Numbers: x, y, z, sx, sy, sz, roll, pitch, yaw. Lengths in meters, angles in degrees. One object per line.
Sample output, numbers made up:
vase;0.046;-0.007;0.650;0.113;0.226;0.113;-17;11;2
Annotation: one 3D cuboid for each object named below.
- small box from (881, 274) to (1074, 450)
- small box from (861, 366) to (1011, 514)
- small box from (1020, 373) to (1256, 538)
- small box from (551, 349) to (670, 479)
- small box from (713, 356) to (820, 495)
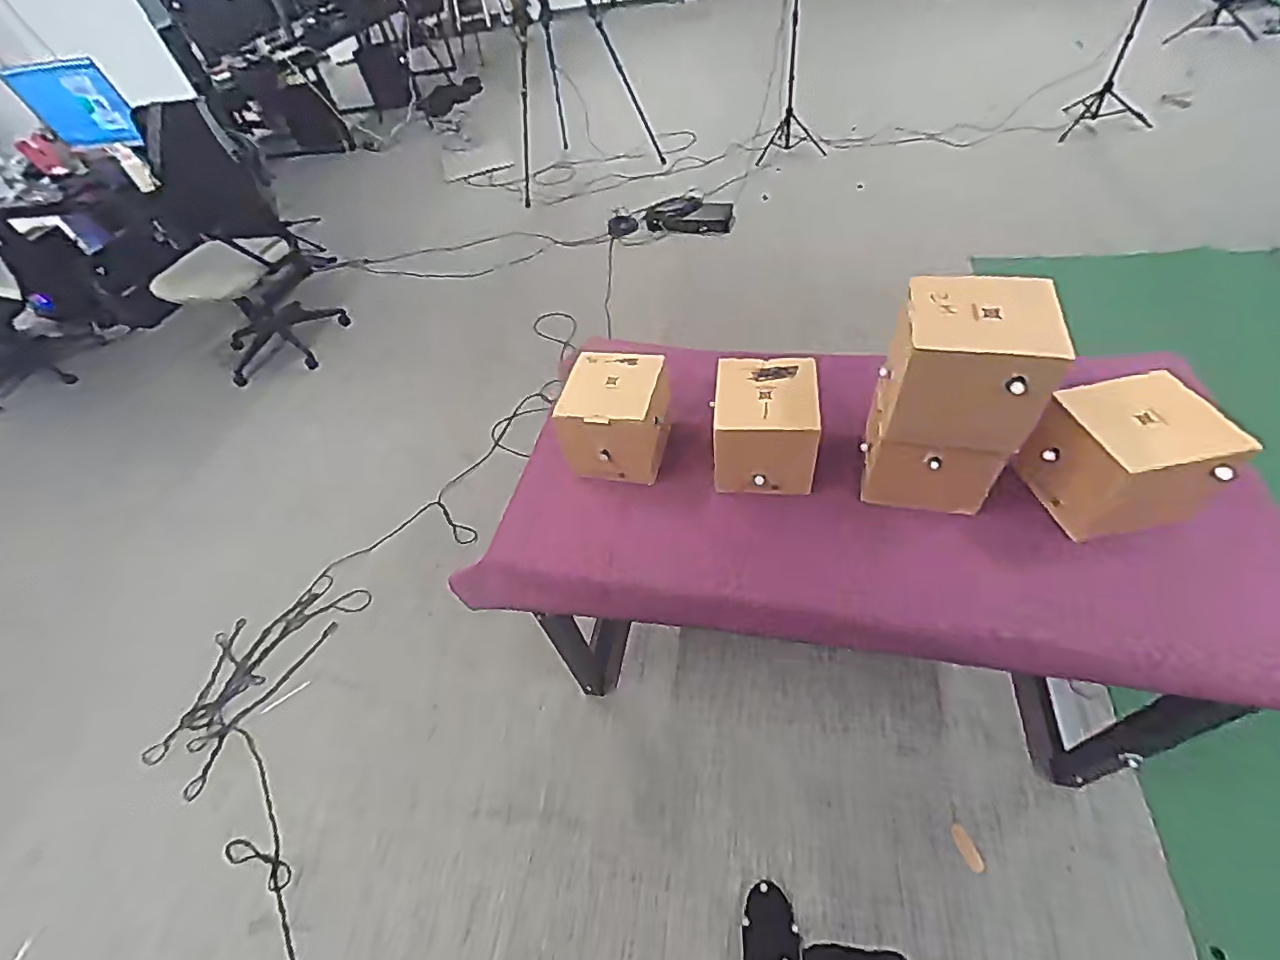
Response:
small box;0.447;-0.160;0.746;0.179;0.176;0.168;9;53;17
small box;0.465;-0.063;0.878;0.179;0.176;0.168;8;53;16
small box;0.713;-0.031;0.809;0.179;0.176;0.168;-10;49;1
small box;-0.043;-0.121;1.009;0.168;0.176;0.179;7;53;15
small box;0.216;-0.095;0.945;0.168;0.176;0.179;2;52;11
